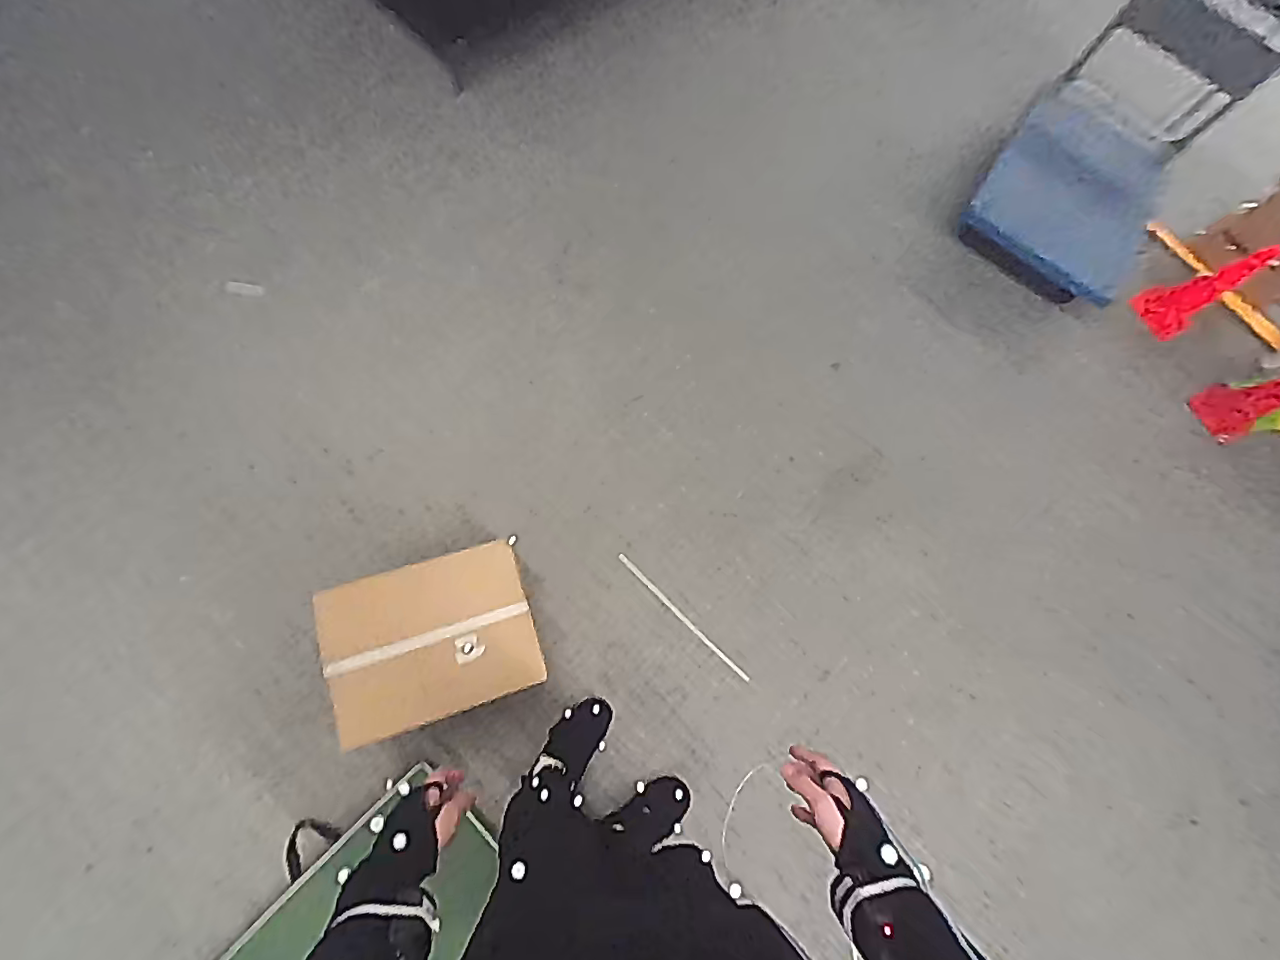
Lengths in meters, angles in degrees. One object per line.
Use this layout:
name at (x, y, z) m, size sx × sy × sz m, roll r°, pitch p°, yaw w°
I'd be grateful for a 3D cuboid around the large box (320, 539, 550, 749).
large box at (-0.443, 0.367, 1.248) m, size 0.408 × 0.320 × 0.320 m, roll -16°, pitch 77°, yaw -14°
